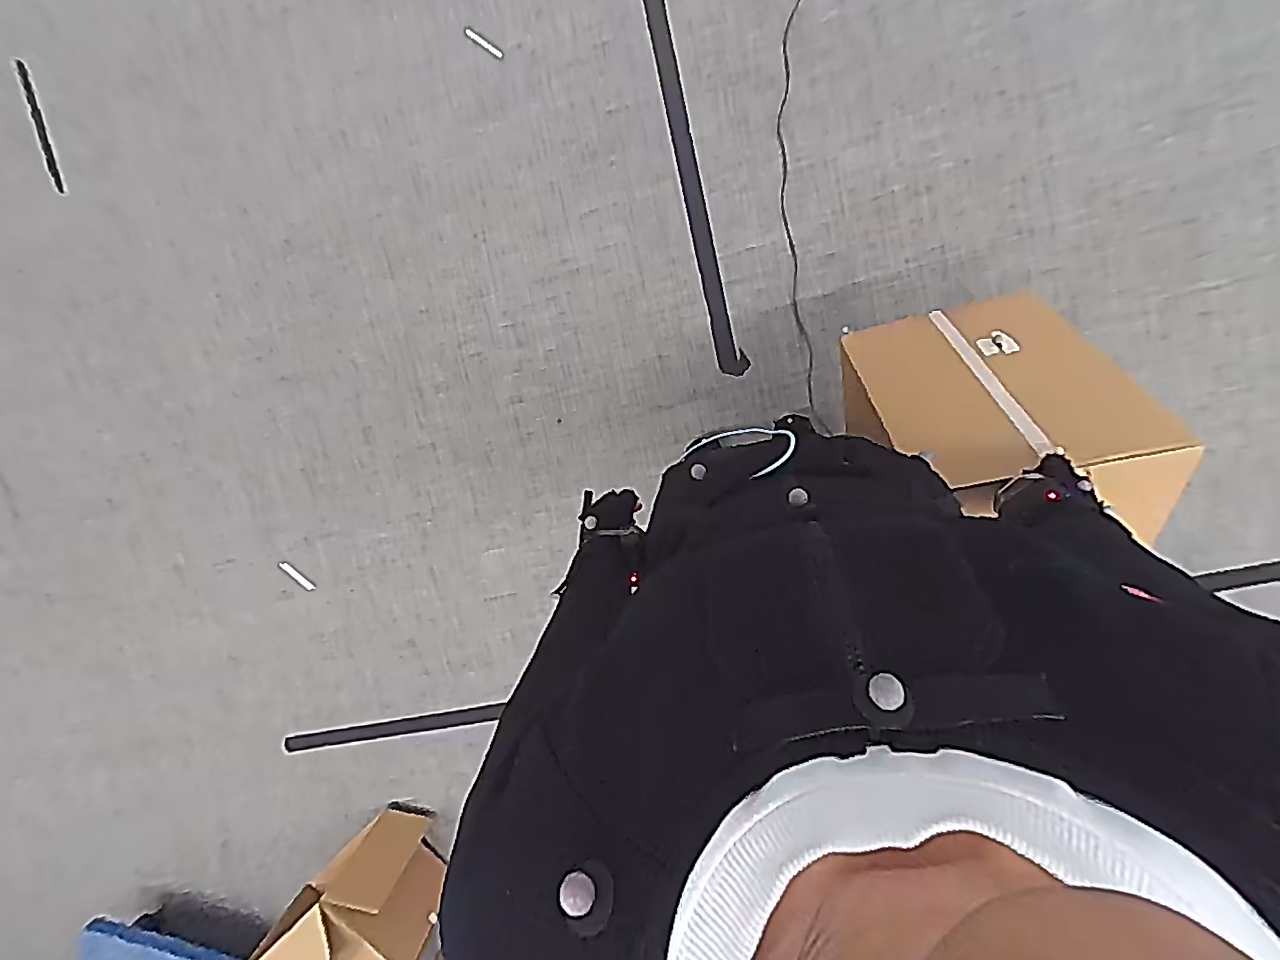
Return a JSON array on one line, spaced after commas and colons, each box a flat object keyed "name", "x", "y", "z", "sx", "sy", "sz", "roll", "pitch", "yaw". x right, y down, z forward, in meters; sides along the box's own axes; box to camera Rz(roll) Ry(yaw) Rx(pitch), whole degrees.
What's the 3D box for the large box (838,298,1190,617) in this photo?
[{"name": "large box", "x": 0.552, "y": -0.041, "z": 0.909, "sx": 0.320, "sy": 0.408, "sz": 0.320, "roll": -12, "pitch": 132, "yaw": 11}]
